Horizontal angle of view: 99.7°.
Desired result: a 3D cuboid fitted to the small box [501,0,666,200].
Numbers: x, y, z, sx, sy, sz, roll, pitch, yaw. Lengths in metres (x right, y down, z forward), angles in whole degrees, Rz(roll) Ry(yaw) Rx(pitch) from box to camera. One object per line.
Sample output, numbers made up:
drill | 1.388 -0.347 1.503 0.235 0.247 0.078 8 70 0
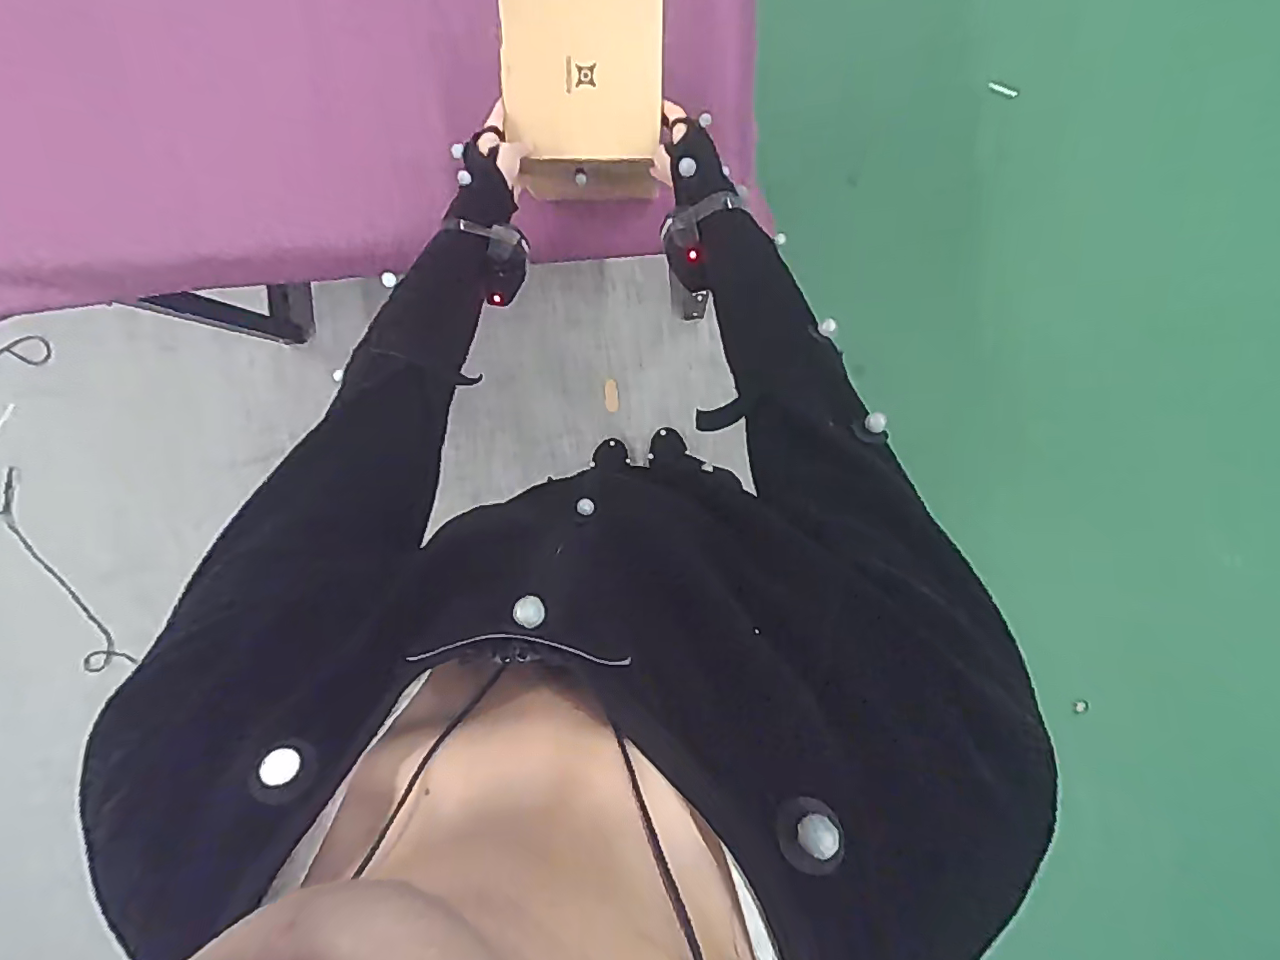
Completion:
small box | -0.057 -0.455 0.664 0.179 0.176 0.168 0 104 4
